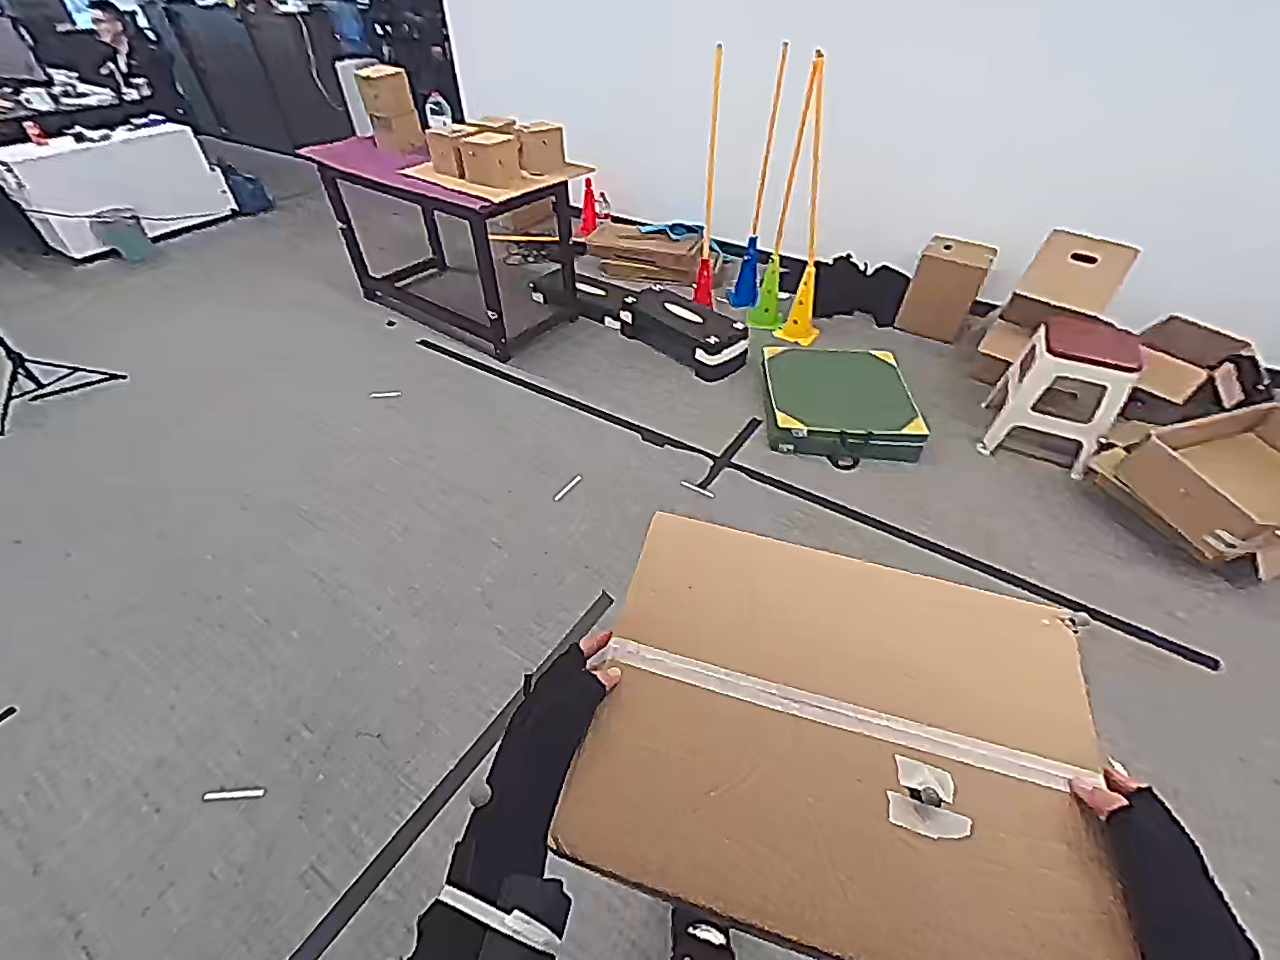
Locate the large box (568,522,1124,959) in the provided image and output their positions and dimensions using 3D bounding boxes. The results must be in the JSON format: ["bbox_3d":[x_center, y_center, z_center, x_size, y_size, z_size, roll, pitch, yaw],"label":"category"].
[{"bbox_3d":[0.171,0.293,0.586,0.408,0.320,0.320,14,54,10],"label":"large box"}]
